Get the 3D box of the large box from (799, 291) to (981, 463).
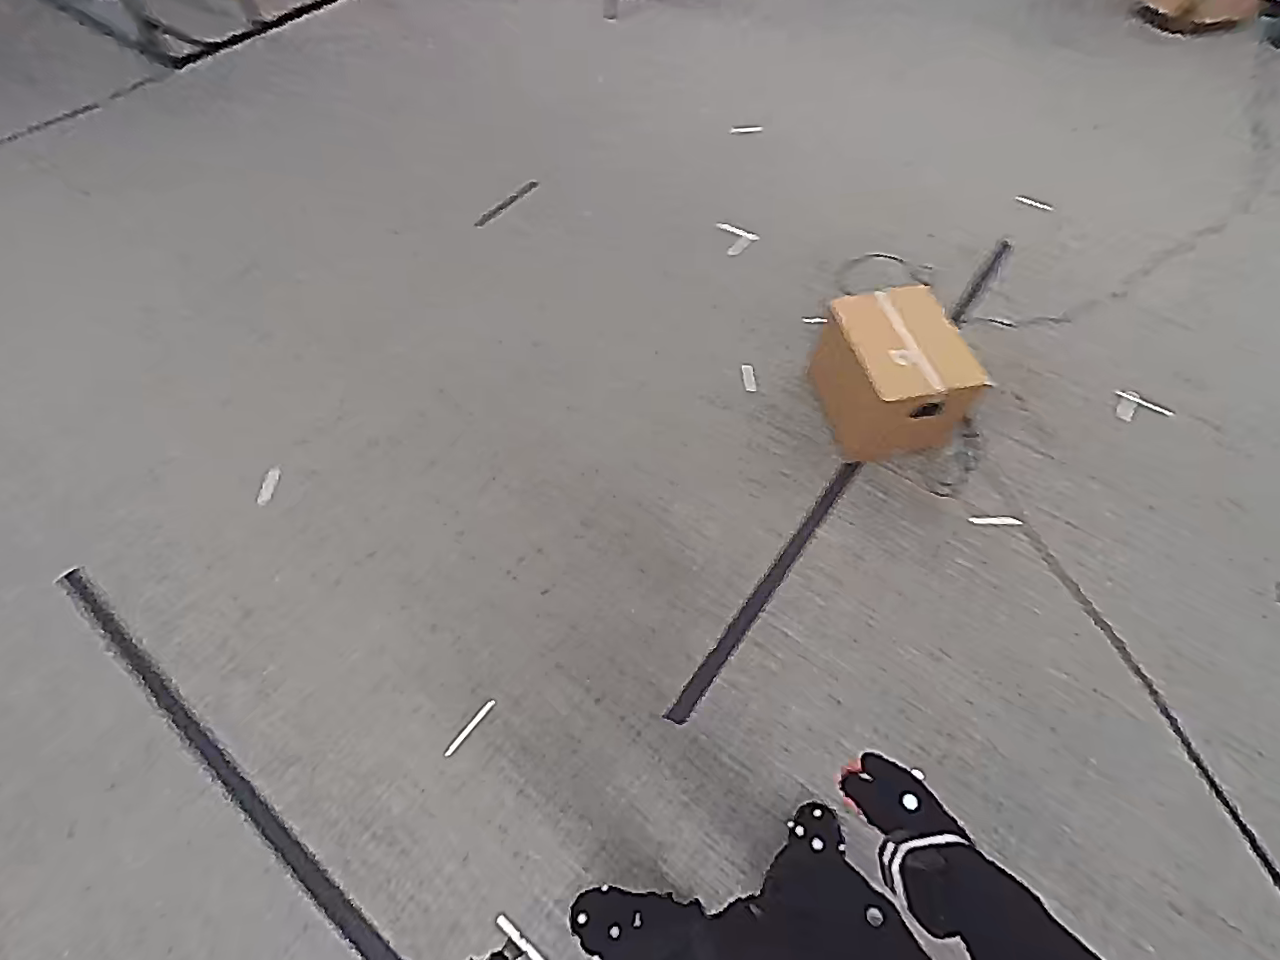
[{"bbox_3d":[0.743,-0.318,1.687,0.320,0.320,0.408,-11,61,-5],"label":"large box"}]
